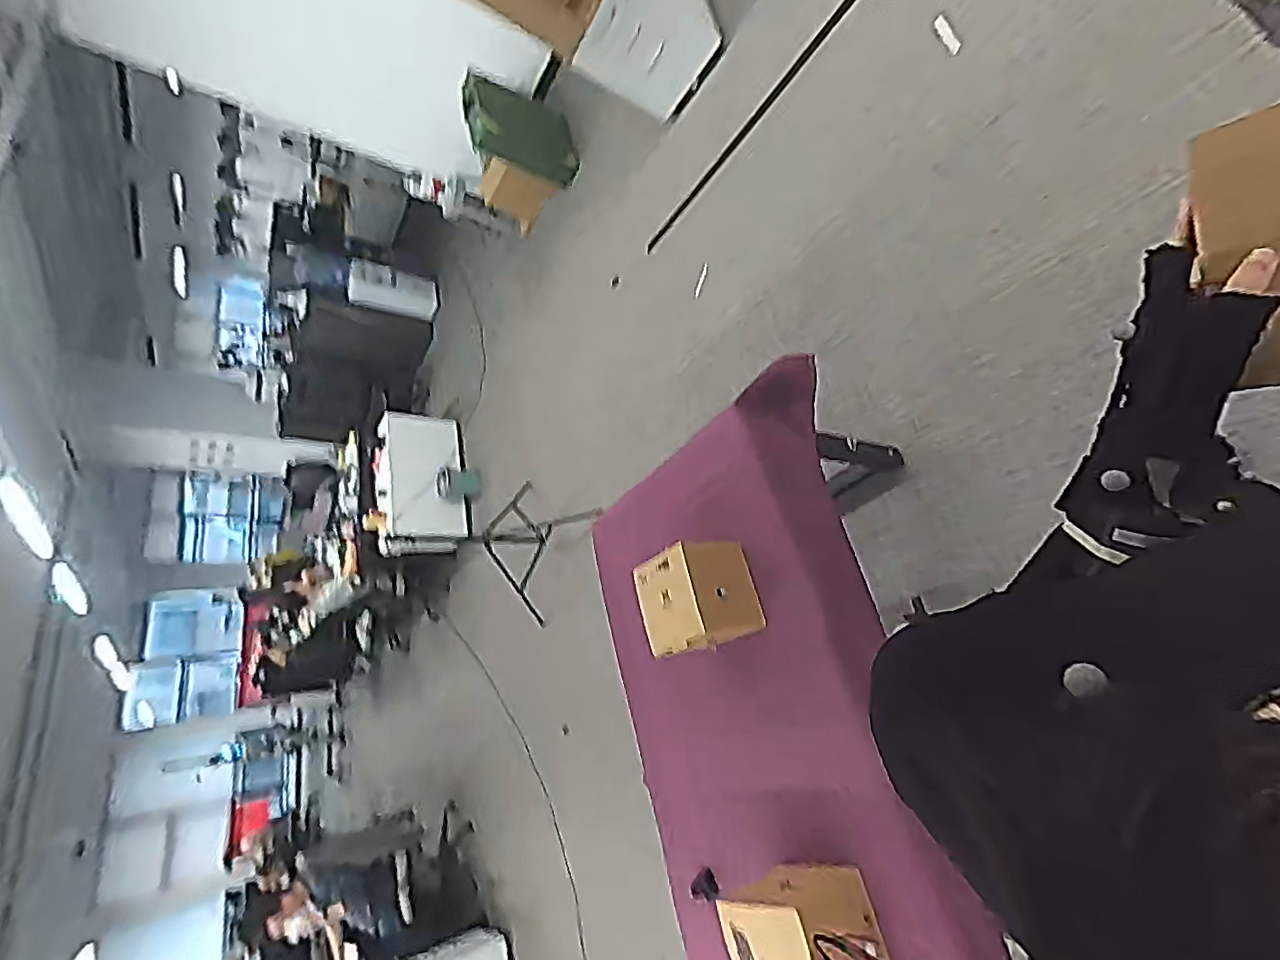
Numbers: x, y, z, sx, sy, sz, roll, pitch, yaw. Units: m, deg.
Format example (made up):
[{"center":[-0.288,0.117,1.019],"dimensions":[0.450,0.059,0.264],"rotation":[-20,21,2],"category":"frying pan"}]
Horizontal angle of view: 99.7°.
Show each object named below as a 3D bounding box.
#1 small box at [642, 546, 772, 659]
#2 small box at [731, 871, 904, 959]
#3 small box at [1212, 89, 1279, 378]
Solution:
[{"center":[0.134,0.240,1.080],"dimensions":[0.168,0.176,0.179],"rotation":[-41,56,44],"category":"small box"},{"center":[0.277,0.728,0.832],"dimensions":[0.179,0.176,0.168],"rotation":[-41,55,43],"category":"small box"},{"center":[0.479,-0.174,0.324],"dimensions":[0.179,0.176,0.168],"rotation":[-7,102,50],"category":"small box"}]
